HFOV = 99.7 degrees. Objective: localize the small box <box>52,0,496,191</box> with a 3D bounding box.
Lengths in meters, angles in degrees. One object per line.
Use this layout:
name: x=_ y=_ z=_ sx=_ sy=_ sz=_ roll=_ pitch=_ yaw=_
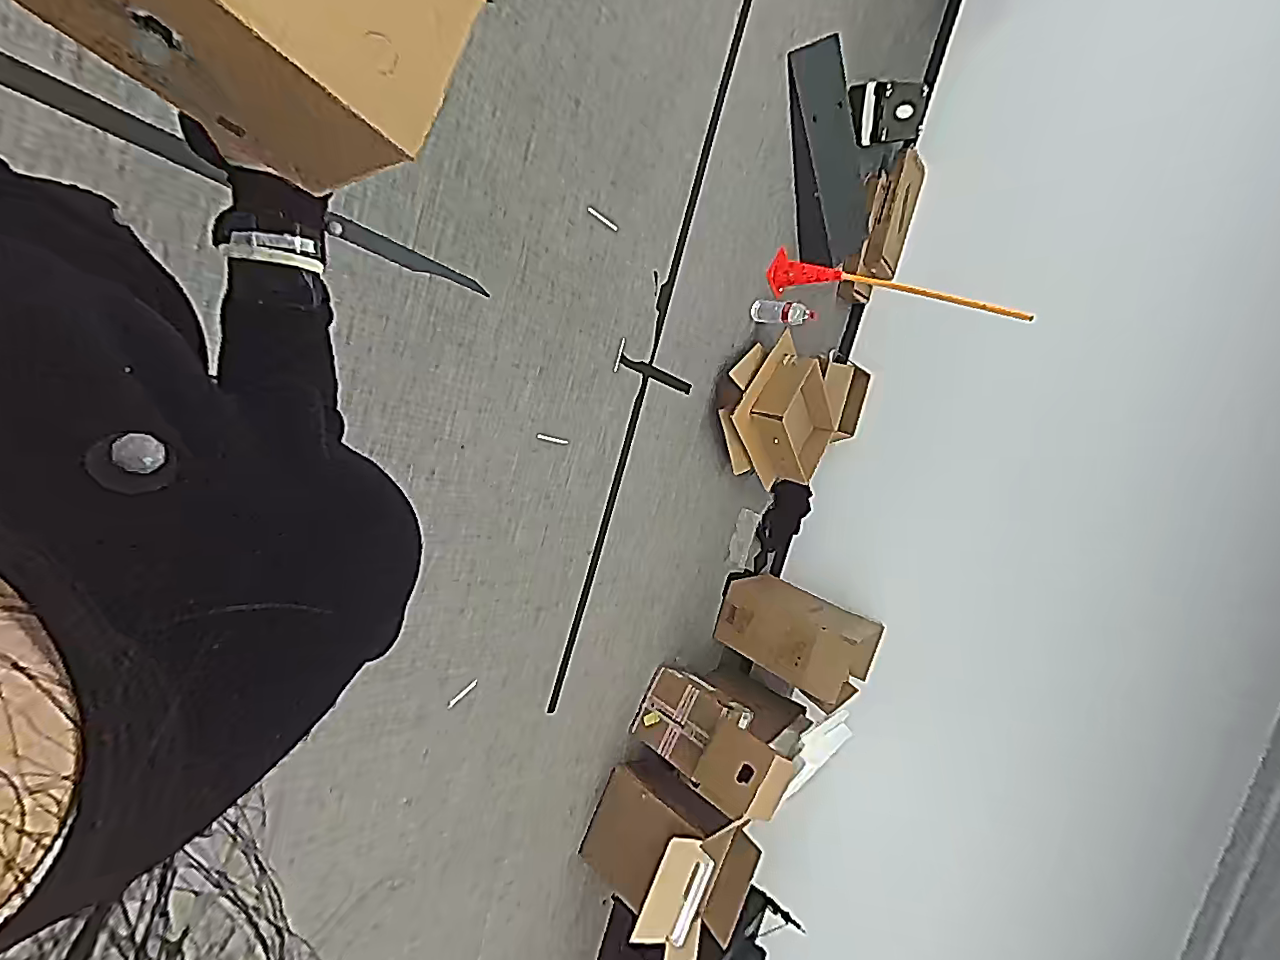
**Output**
small box: x=-0.197 y=-0.295 z=0.301 sx=0.168 sy=0.176 sz=0.179 roll=26 pitch=82 yaw=-49
